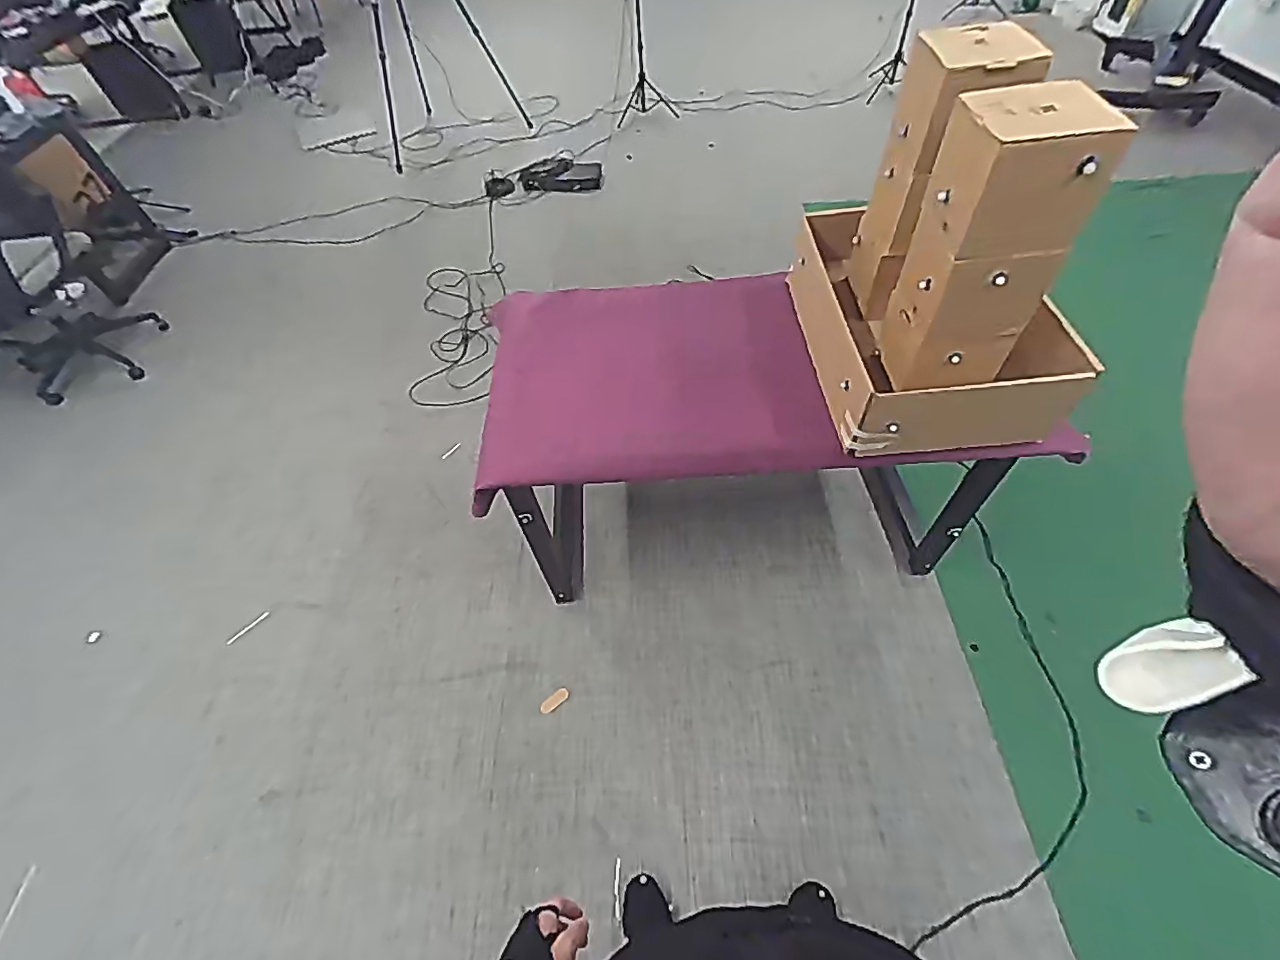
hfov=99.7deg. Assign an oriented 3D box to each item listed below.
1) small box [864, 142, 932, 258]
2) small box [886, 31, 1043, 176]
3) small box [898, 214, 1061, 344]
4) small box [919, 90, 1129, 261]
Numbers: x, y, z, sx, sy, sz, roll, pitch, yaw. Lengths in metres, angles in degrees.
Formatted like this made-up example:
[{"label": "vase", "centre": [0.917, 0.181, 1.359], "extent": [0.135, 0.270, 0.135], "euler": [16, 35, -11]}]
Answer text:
[{"label": "small box", "centre": [0.579, -0.573, 1.108], "extent": [0.168, 0.176, 0.179], "euler": [-3, 54, 4]}, {"label": "small box", "centre": [0.568, -0.669, 0.975], "extent": [0.168, 0.176, 0.179], "euler": [-3, 56, 3]}, {"label": "small box", "centre": [0.575, -0.356, 0.951], "extent": [0.179, 0.176, 0.168], "euler": [-3, 54, 4]}, {"label": "small box", "centre": [0.560, -0.456, 0.820], "extent": [0.179, 0.176, 0.168], "euler": [-4, 54, 4]}]
